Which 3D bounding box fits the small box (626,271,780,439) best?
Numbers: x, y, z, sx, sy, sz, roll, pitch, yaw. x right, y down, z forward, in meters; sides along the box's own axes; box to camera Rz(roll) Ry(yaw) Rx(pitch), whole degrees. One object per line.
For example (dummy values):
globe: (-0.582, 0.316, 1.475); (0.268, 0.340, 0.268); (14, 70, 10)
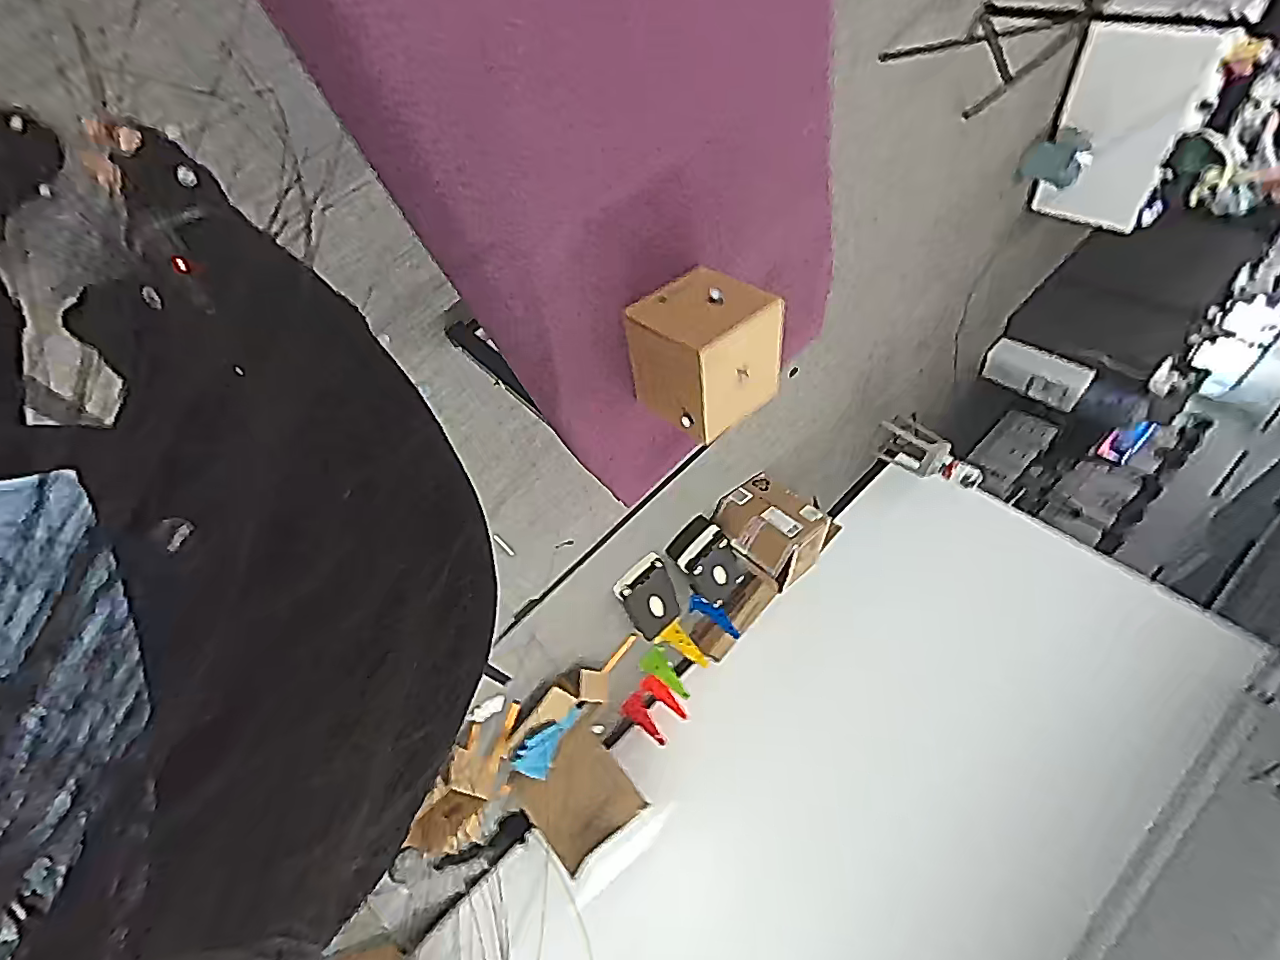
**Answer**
small box: (0.095, -0.203, 0.837); (0.168, 0.176, 0.179); (-37, 143, -20)
